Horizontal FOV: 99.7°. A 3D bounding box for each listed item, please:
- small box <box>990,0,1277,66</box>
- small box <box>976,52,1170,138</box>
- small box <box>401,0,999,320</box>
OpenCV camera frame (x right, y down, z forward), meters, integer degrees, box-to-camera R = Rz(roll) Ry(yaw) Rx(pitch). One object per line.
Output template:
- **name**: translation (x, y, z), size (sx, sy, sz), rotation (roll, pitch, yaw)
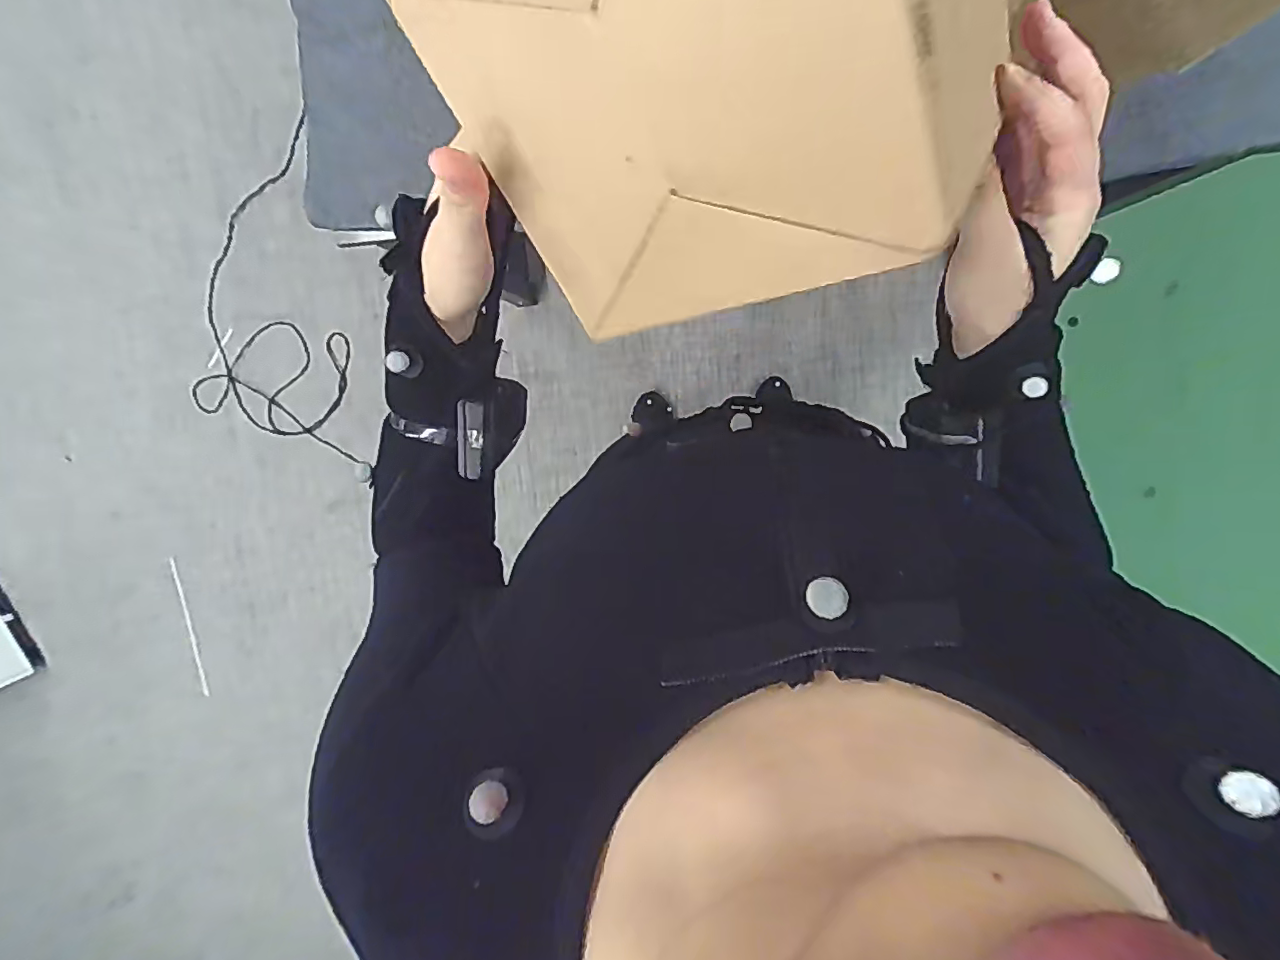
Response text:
- **small box**: translation (0.394, -0.439, 0.390), size (0.179, 0.176, 0.168), rotation (9, 100, 6)
- **small box**: translation (0.411, -0.479, 0.547), size (0.168, 0.176, 0.179), rotation (-2, 100, 7)
- **small box**: translation (0.033, -0.191, 0.237), size (0.179, 0.176, 0.168), rotation (5, 137, 43)
